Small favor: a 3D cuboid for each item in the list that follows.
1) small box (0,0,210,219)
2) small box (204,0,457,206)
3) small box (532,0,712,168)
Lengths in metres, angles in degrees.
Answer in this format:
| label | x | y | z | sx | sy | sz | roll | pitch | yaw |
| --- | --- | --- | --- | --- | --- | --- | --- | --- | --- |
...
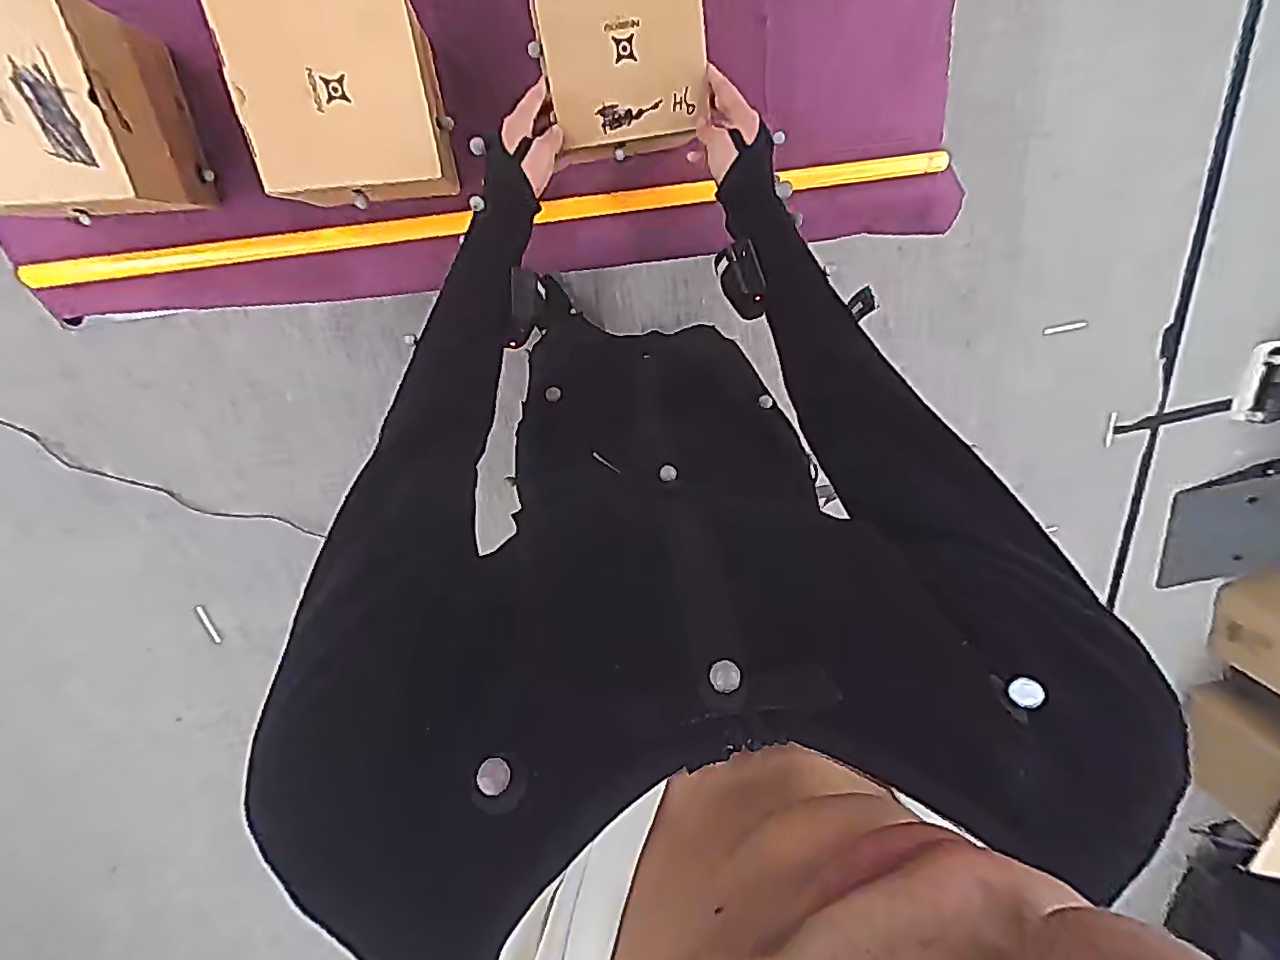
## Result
| label | x | y | z | sx | sy | sz | roll | pitch | yaw |
| --- | --- | --- | --- | --- | --- | --- | --- | --- | --- |
| small box | -0.584 | -0.361 | 0.547 | 0.179 | 0.176 | 0.168 | -8 | 115 | -8 |
| small box | -0.307 | -0.401 | 0.588 | 0.179 | 0.176 | 0.168 | -9 | 114 | -6 |
| small box | -0.025 | -0.471 | 0.609 | 0.168 | 0.176 | 0.179 | -11 | 115 | -4 |
